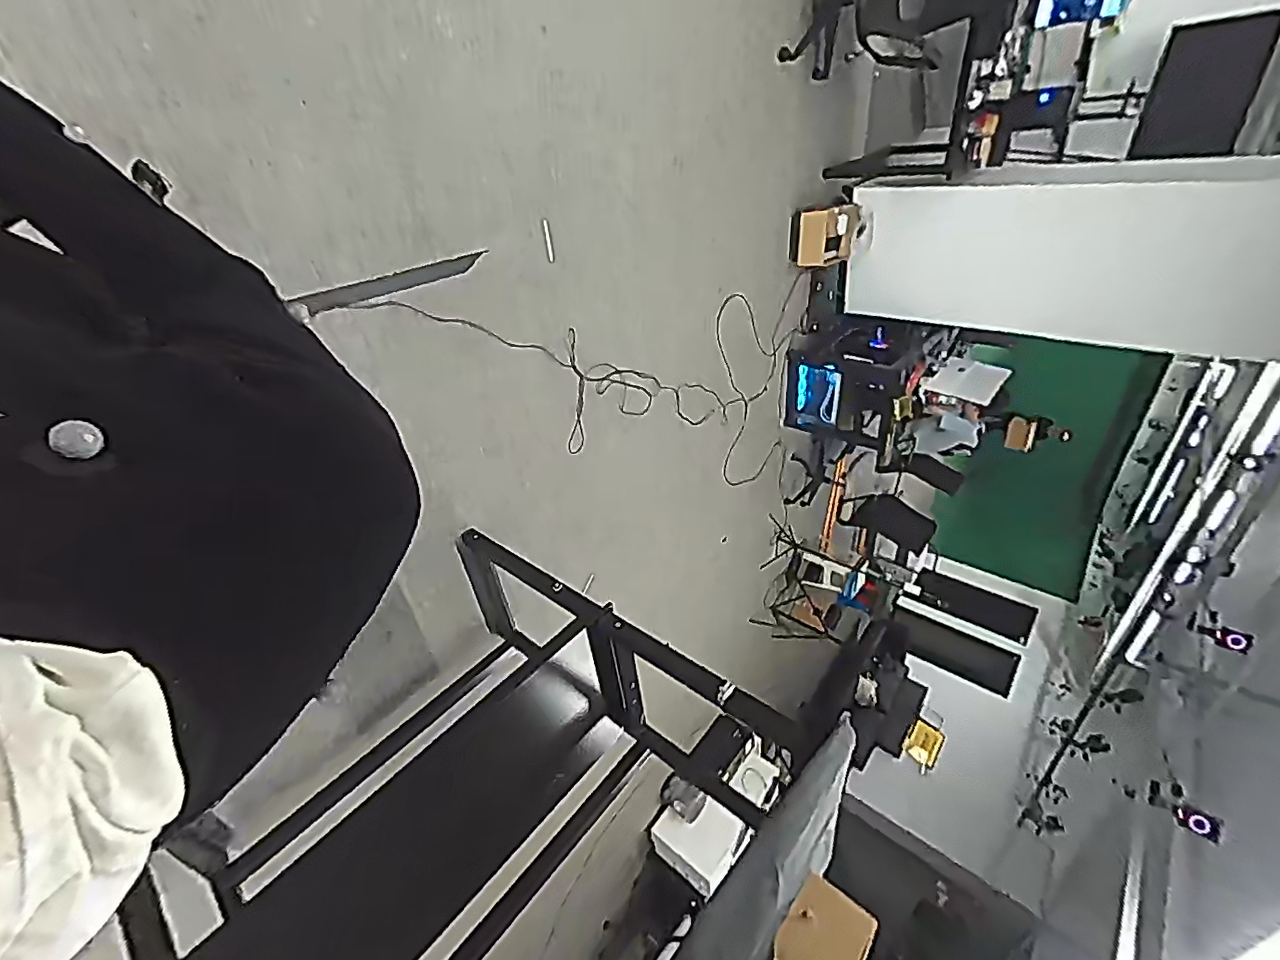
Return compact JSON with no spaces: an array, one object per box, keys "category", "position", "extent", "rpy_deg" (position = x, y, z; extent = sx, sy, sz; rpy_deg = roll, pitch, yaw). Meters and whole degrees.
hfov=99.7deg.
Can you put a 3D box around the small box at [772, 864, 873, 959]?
[{"category":"small box","position":[0.426,1.073,1.280],"extent":[0.179,0.176,0.168],"rpy_deg":[-38,134,-34]}]
